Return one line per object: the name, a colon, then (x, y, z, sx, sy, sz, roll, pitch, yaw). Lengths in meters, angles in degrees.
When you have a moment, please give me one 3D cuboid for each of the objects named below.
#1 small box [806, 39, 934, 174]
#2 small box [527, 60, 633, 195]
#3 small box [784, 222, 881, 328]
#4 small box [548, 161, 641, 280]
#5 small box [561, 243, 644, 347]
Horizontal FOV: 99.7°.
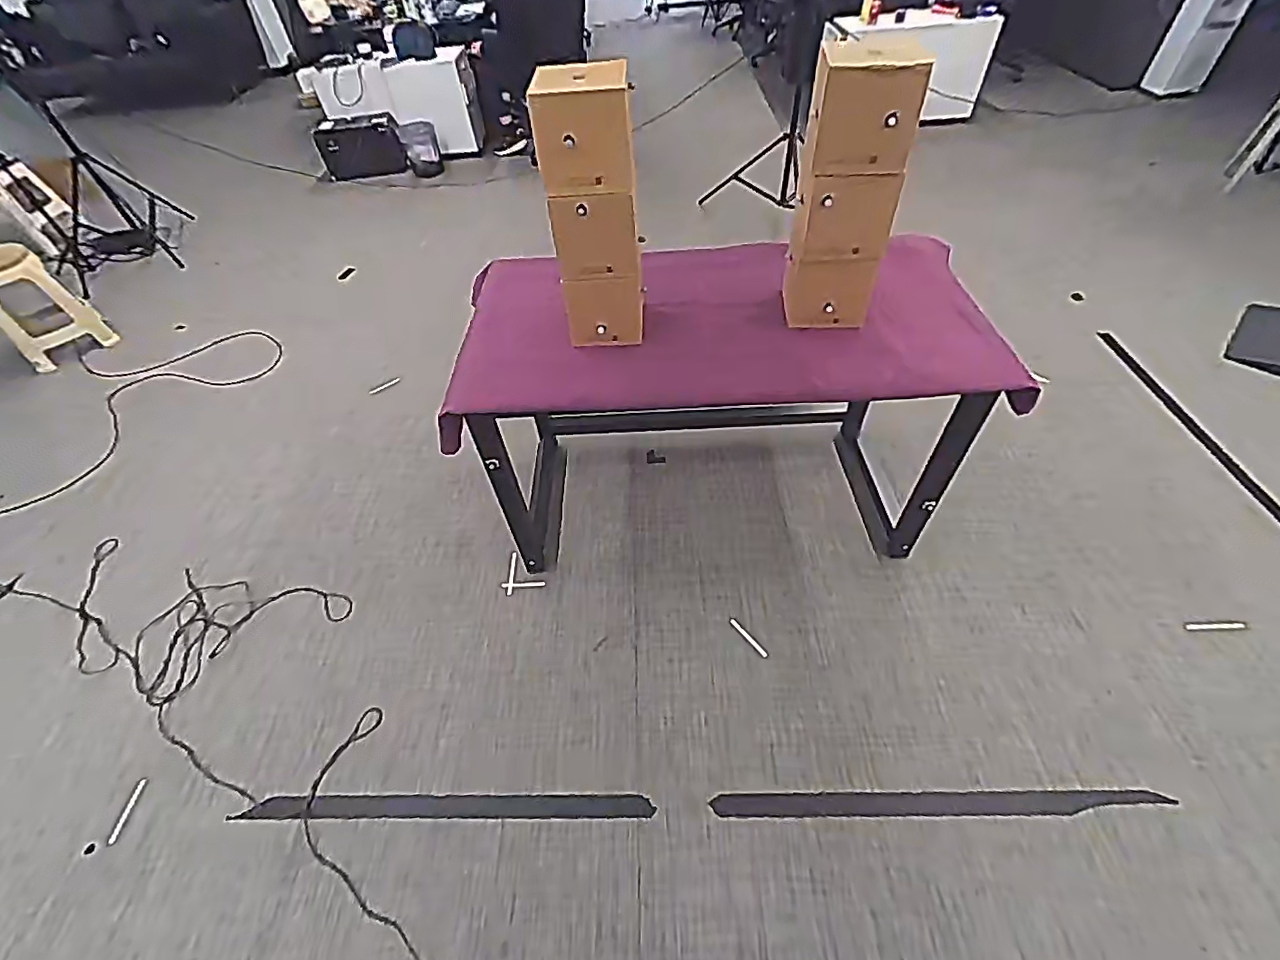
small box: (0.403, -0.674, 0.982, 0.168, 0.176, 0.179, 4, 49, 6)
small box: (-0.100, -0.641, 0.993, 0.168, 0.176, 0.179, -3, 49, 2)
small box: (0.428, -0.468, 1.234, 0.168, 0.176, 0.179, 1, 50, 7)
small box: (-0.086, -0.533, 1.116, 0.168, 0.176, 0.179, -2, 49, 3)
small box: (-0.078, -0.426, 1.239, 0.168, 0.176, 0.179, -1, 50, 3)
